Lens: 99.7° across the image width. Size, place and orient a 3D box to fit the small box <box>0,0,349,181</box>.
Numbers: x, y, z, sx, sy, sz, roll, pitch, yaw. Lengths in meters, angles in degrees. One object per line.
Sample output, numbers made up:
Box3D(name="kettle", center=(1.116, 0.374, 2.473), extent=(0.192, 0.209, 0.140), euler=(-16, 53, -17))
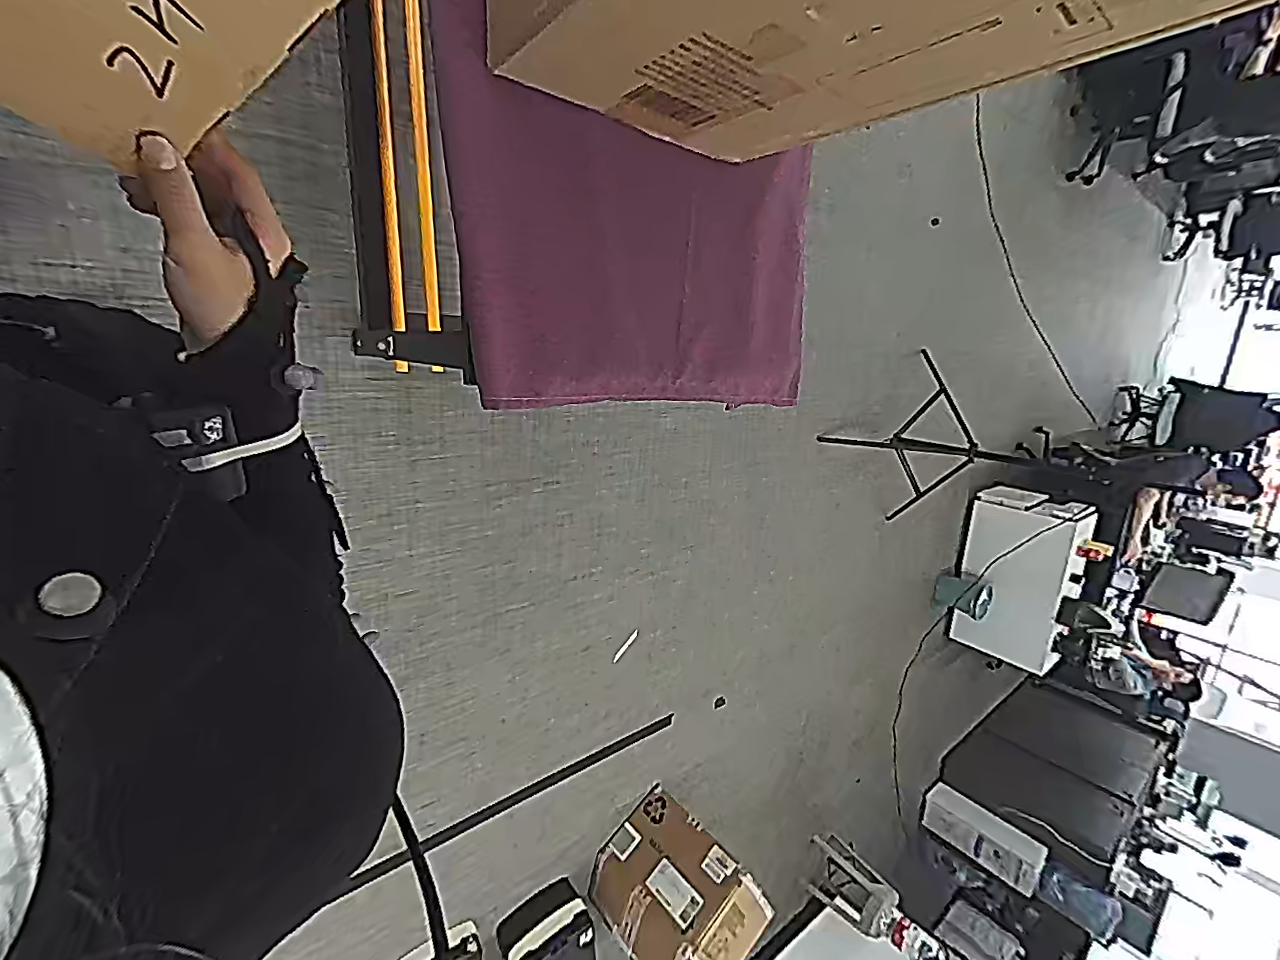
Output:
Box3D(name="small box", center=(-0.261, -0.280, 0.216), extent=(0.168, 0.176, 0.179), euler=(-36, 167, 8))
